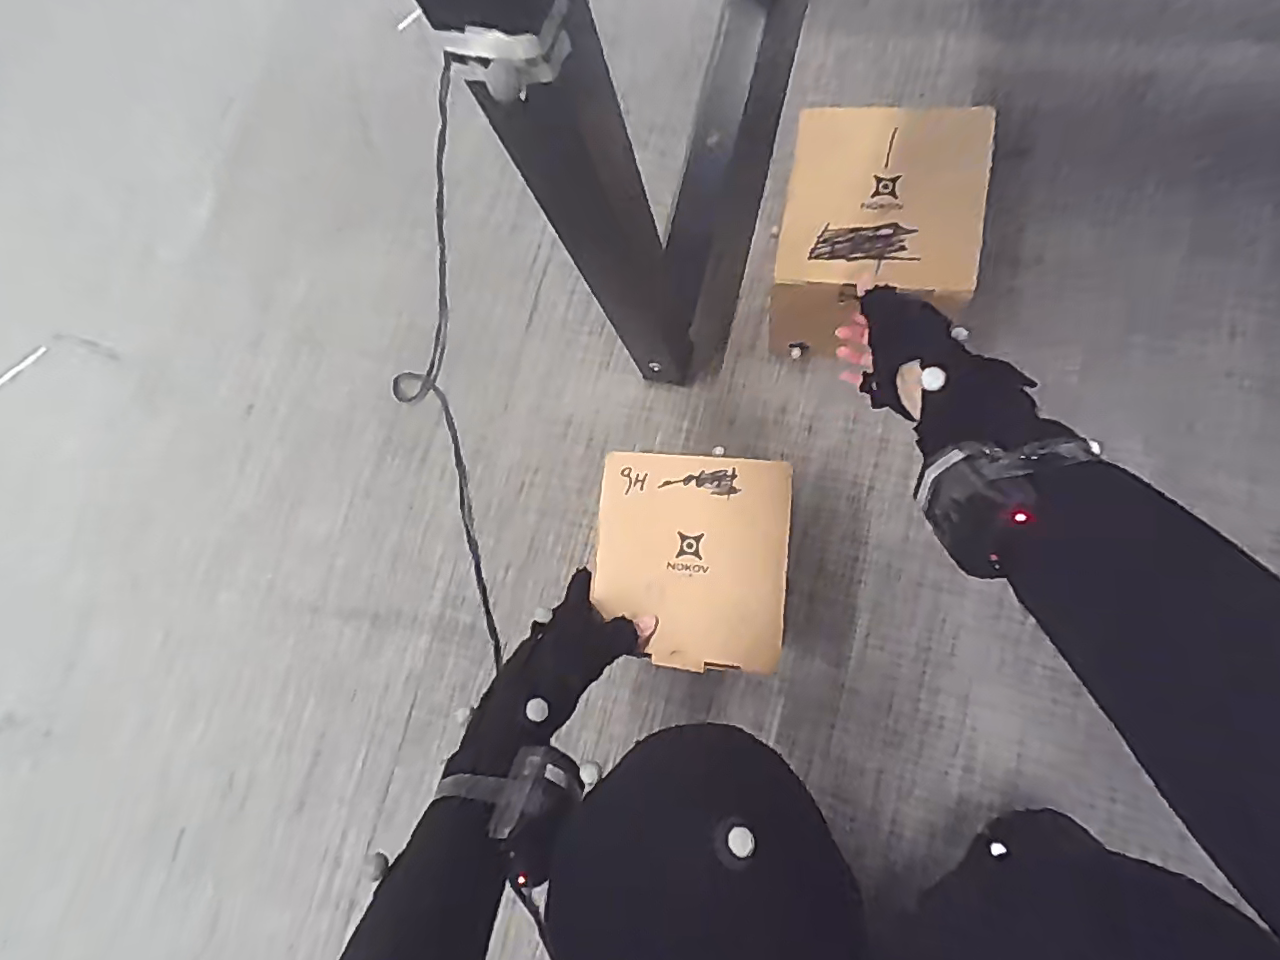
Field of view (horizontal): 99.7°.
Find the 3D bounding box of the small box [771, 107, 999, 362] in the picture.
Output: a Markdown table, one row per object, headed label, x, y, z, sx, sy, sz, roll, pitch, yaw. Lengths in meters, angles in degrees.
| label | x | y | z | sx | sy | sz | roll | pitch | yaw |
| --- | --- | --- | --- | --- | --- | --- | --- | --- | --- |
| small box | 0.230 | -0.236 | 0.551 | 0.168 | 0.176 | 0.179 | 10 | 83 | 13 |
